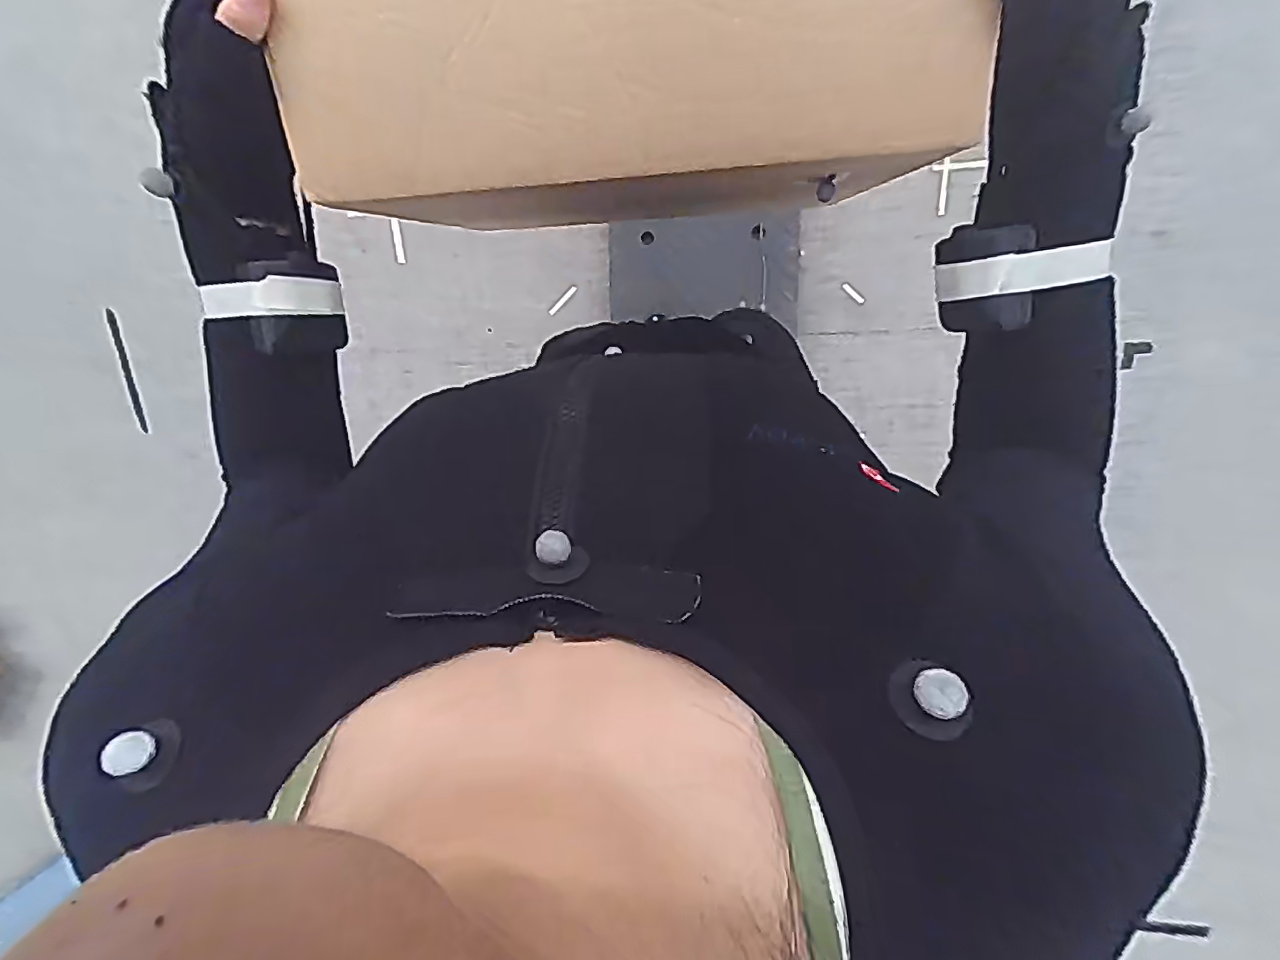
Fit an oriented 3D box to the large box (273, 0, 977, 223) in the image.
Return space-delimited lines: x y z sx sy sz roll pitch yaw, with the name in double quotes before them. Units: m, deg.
"large box" -0.007 -0.389 0.417 0.408 0.320 0.320 -2 111 6
